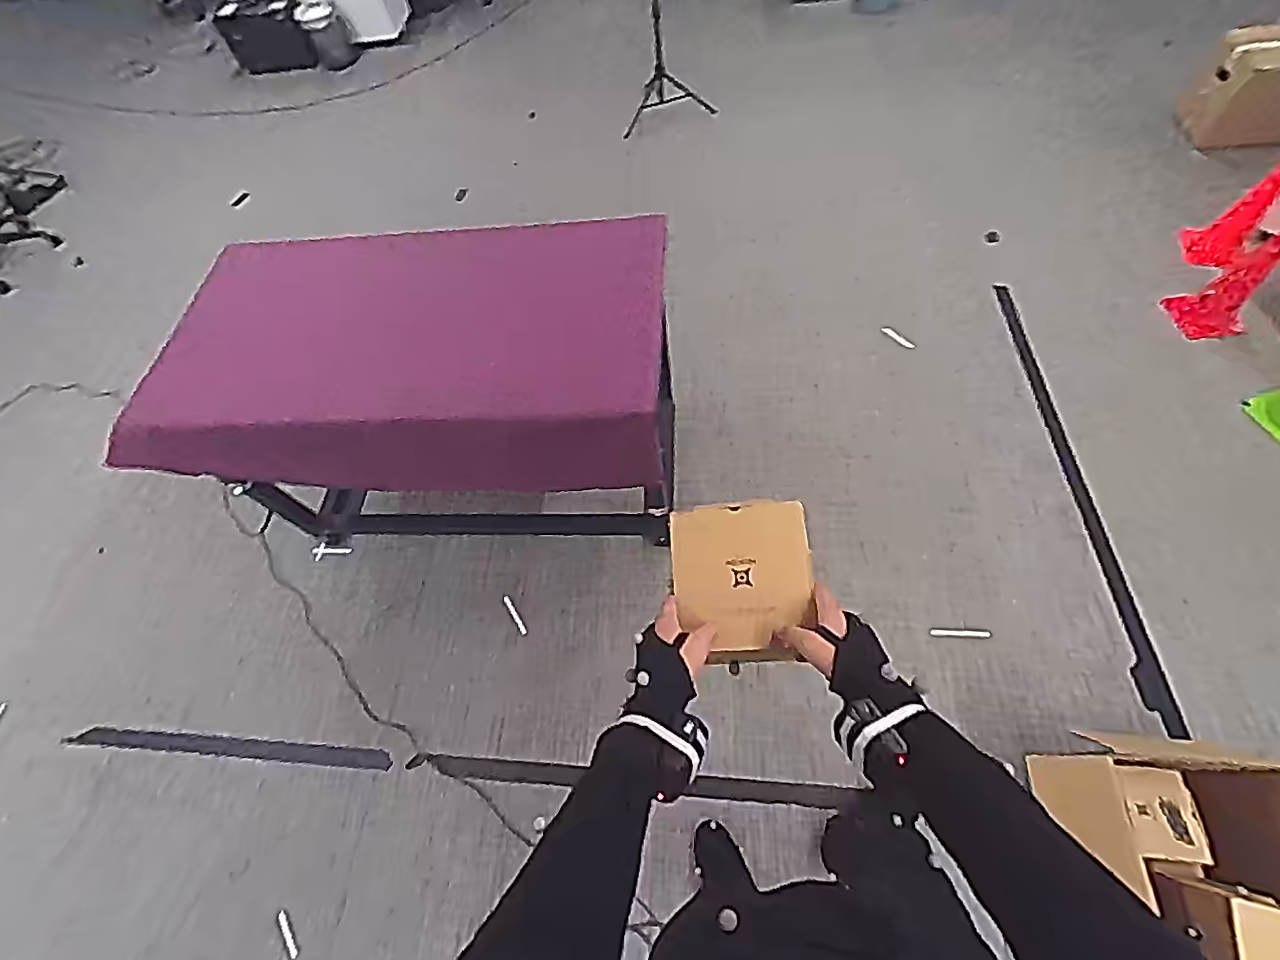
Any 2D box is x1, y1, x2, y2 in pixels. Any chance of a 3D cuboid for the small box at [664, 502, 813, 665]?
[{"bbox_3d":[0.125,0.145,0.726,0.168,0.176,0.179,-6,65,8],"label":"small box"}]
